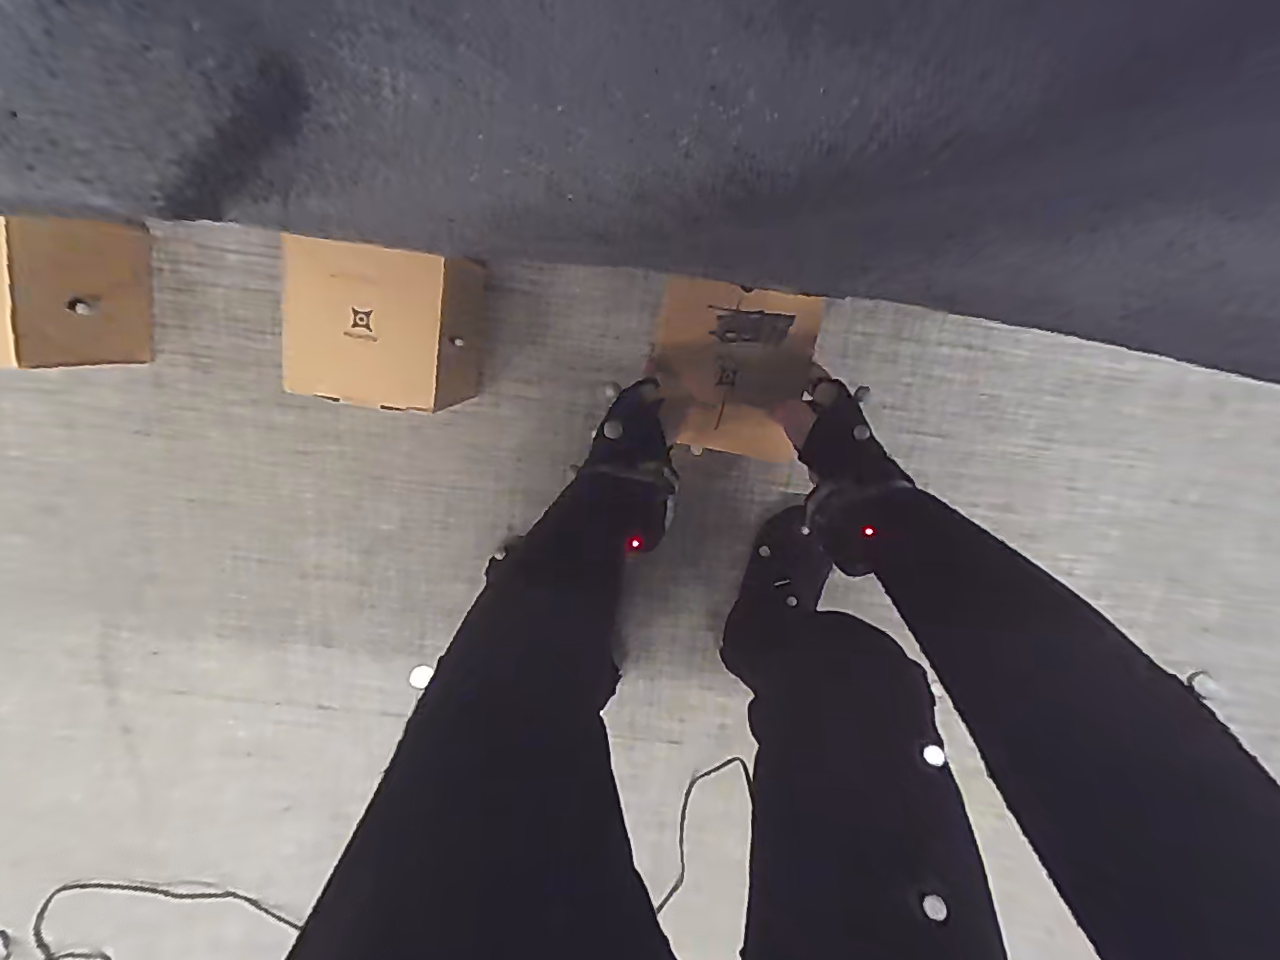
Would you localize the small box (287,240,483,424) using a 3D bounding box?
[{"bbox_3d":[-0.300,-0.174,0.666,0.168,0.176,0.179,8,101,-3],"label":"small box"}]
